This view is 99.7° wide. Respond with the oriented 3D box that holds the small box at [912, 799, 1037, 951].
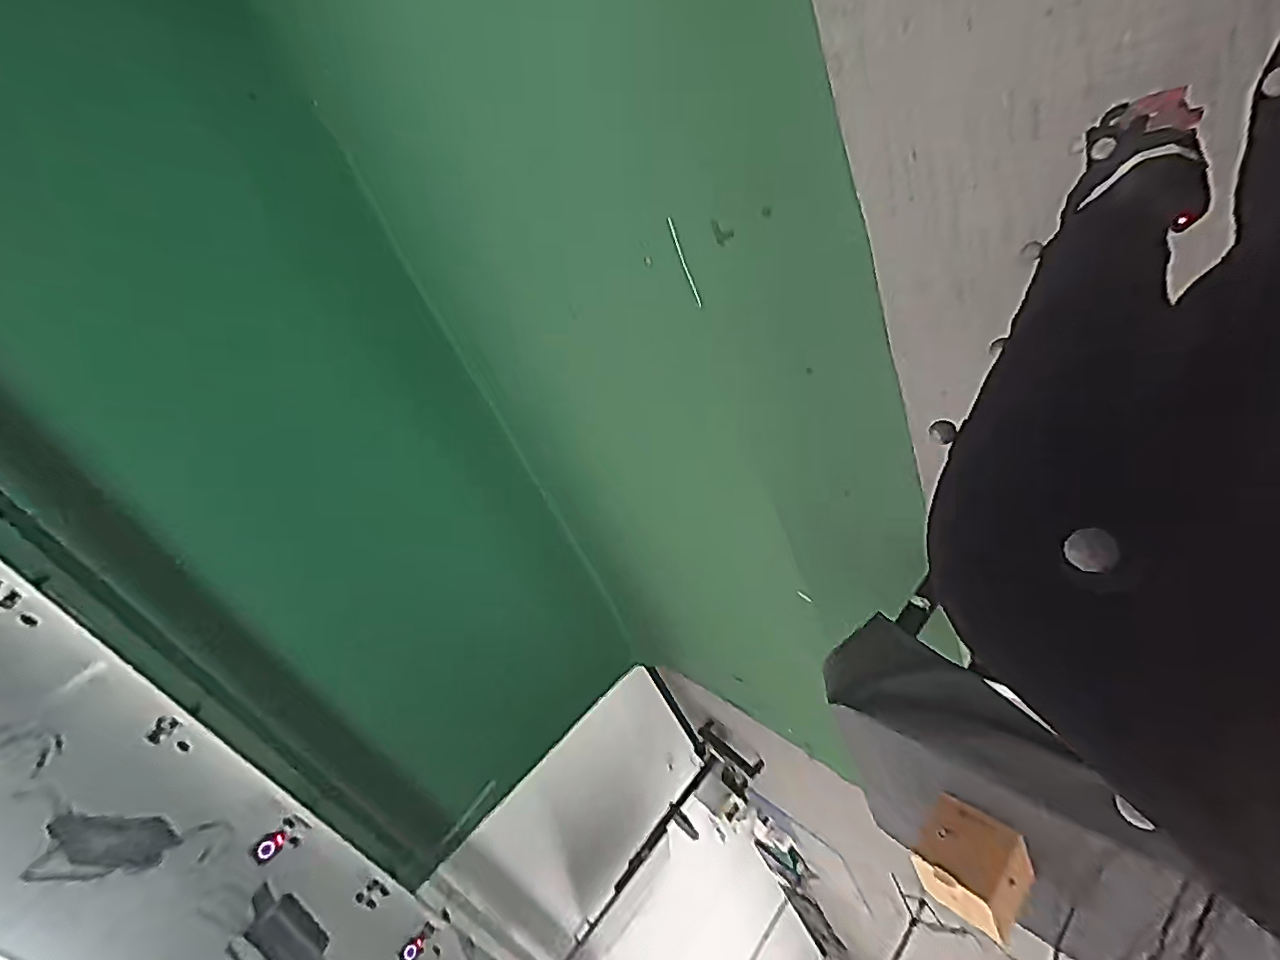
[{"bbox_3d":[0.727,0.843,1.172,0.168,0.176,0.179,8,133,56],"label":"small box"}]
